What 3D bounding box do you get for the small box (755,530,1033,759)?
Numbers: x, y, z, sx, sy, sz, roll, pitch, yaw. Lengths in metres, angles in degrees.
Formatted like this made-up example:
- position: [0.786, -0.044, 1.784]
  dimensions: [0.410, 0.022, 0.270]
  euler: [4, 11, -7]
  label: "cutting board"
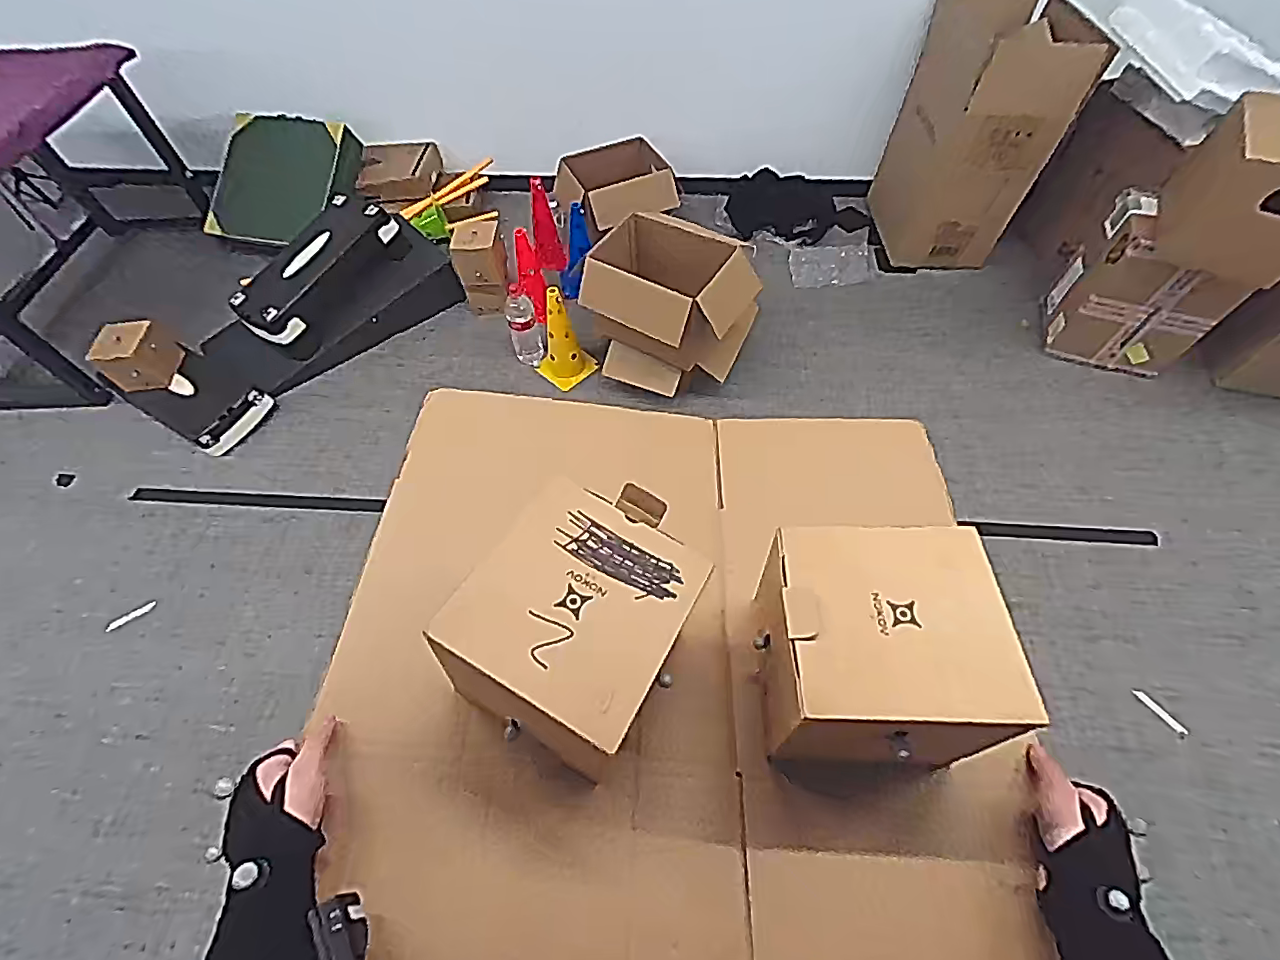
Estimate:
- position: [0.214, 0.161, 0.516]
  dimensions: [0.179, 0.176, 0.168]
  euler: [0, 54, 4]
  label: "small box"
